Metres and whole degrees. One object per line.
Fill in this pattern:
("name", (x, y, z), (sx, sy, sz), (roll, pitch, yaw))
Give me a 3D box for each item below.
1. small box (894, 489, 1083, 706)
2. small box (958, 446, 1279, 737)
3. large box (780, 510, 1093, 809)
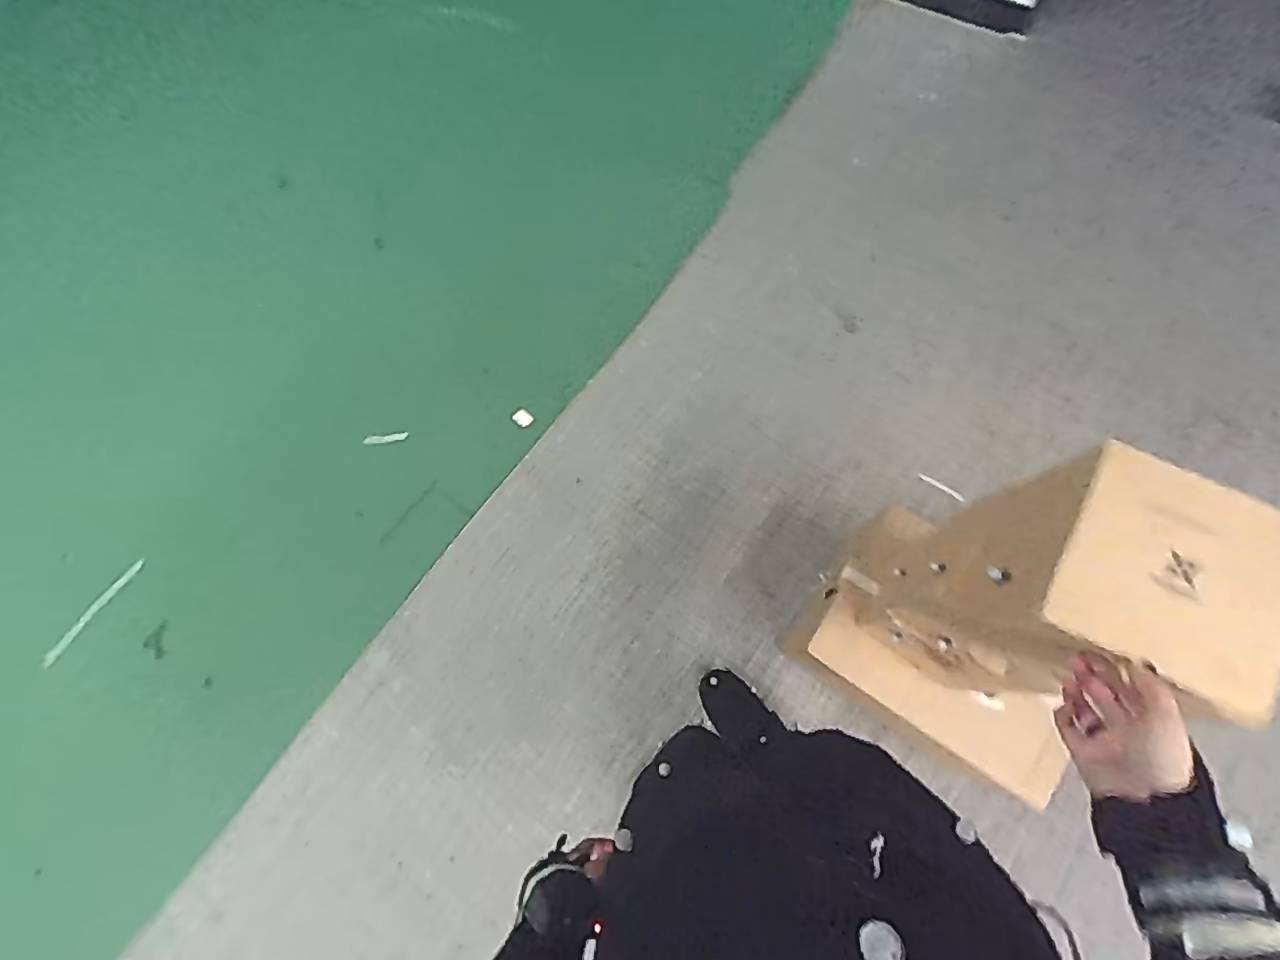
("small box", (0.448, 0.143, 0.661), (0.168, 0.176, 0.179), (39, 80, 15))
("small box", (0.434, 0.103, 0.504), (0.168, 0.176, 0.179), (29, 77, 12))
("large box", (0.536, 0.316, 1.025), (0.408, 0.320, 0.320), (34, 79, 13))
